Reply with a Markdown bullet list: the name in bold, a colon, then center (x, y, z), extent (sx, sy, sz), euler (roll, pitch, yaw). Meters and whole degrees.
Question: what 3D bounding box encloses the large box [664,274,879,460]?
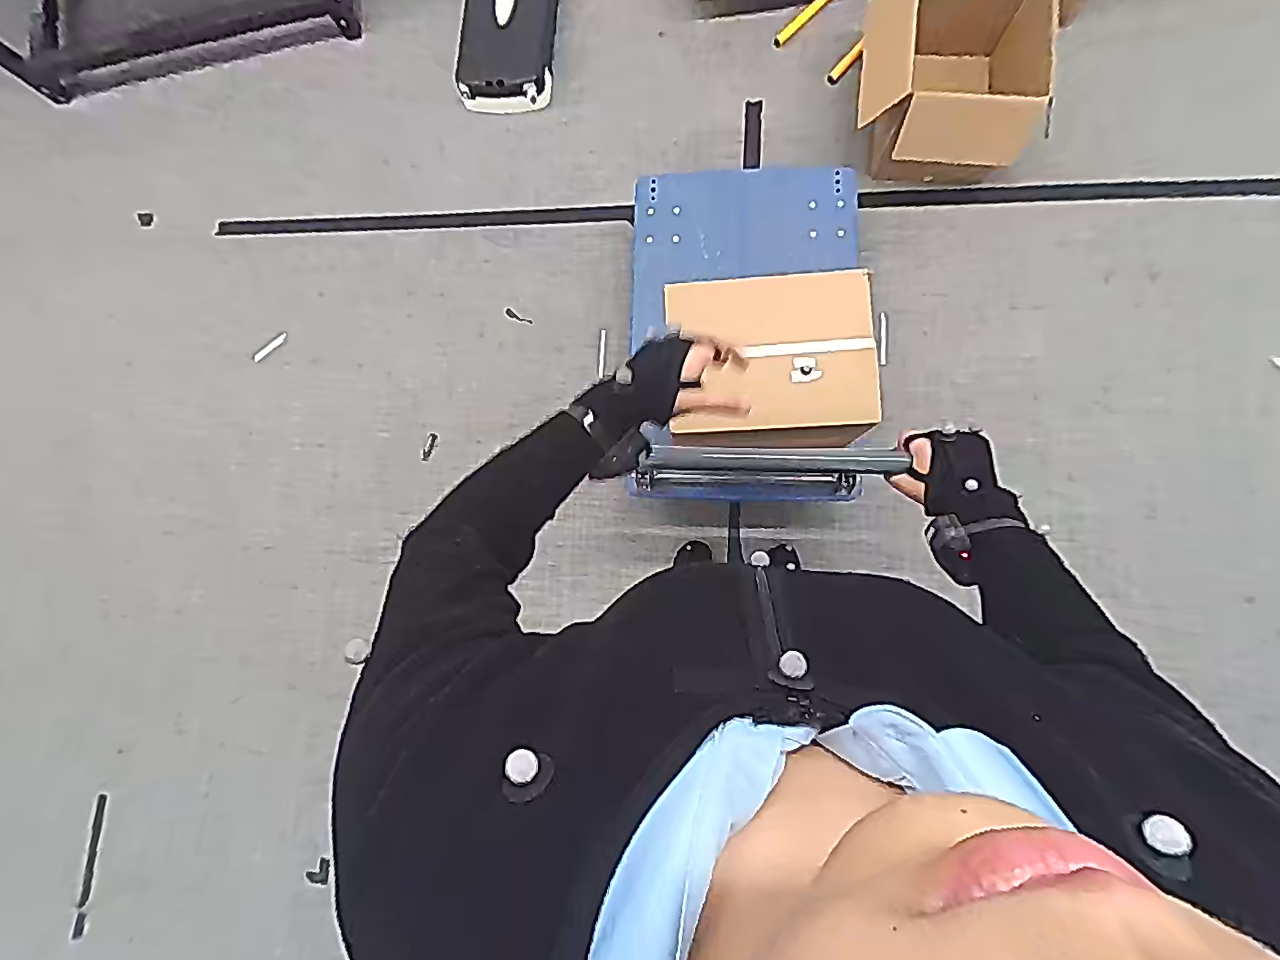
- **large box**: center (0.267, -0.230, 1.220), extent (0.408, 0.320, 0.320), euler (-3, 83, 4)
